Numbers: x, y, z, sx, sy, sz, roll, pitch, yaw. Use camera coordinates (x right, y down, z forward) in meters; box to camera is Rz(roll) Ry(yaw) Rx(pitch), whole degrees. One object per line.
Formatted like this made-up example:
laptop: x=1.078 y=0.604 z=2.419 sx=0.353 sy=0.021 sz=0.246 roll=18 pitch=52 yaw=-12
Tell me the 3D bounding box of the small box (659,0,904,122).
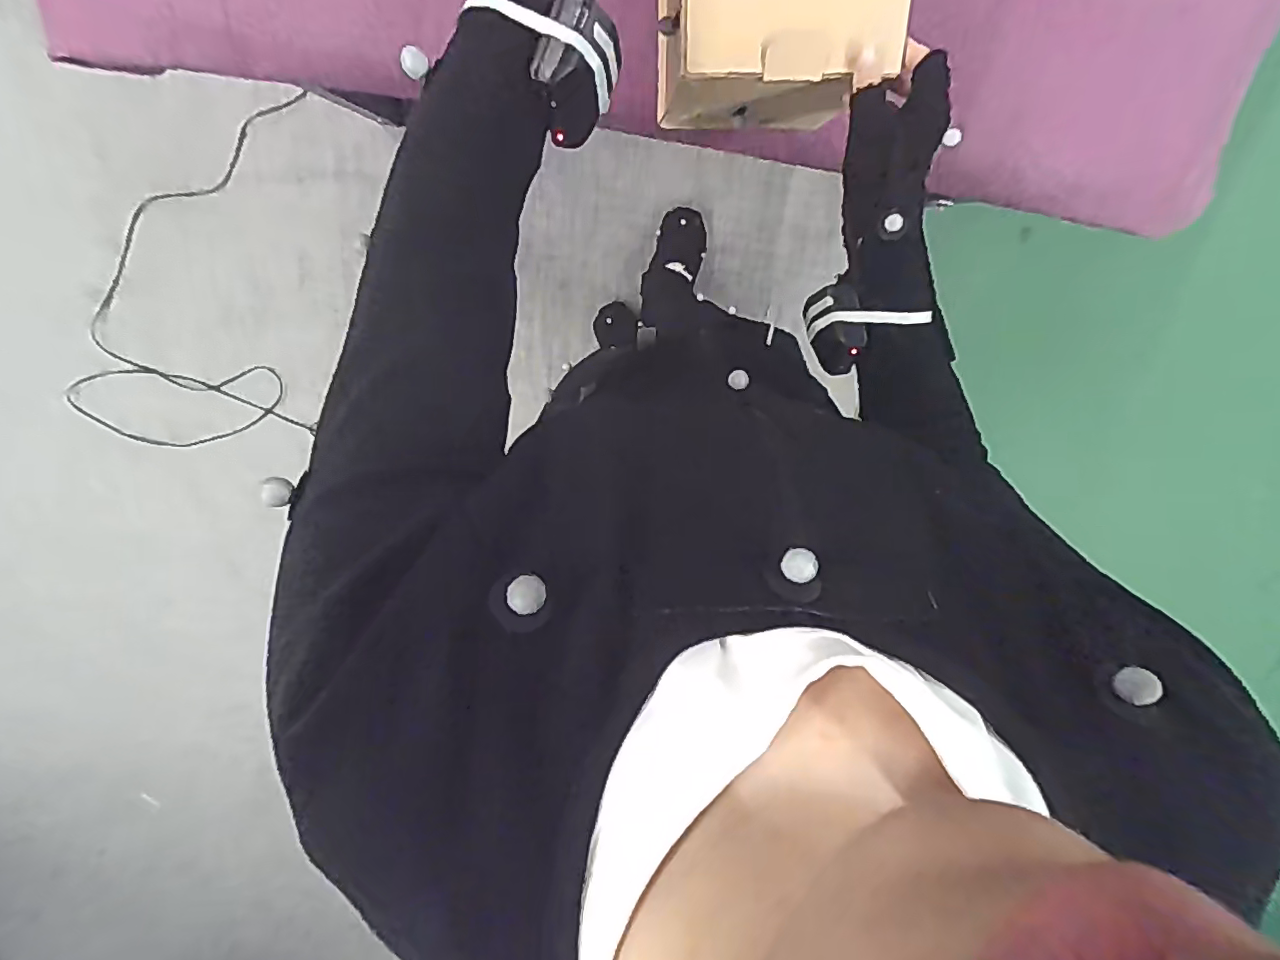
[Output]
small box: x=0.105 y=-0.419 z=0.446 sx=0.168 sy=0.176 sz=0.179 roll=-2 pitch=113 yaw=-3
